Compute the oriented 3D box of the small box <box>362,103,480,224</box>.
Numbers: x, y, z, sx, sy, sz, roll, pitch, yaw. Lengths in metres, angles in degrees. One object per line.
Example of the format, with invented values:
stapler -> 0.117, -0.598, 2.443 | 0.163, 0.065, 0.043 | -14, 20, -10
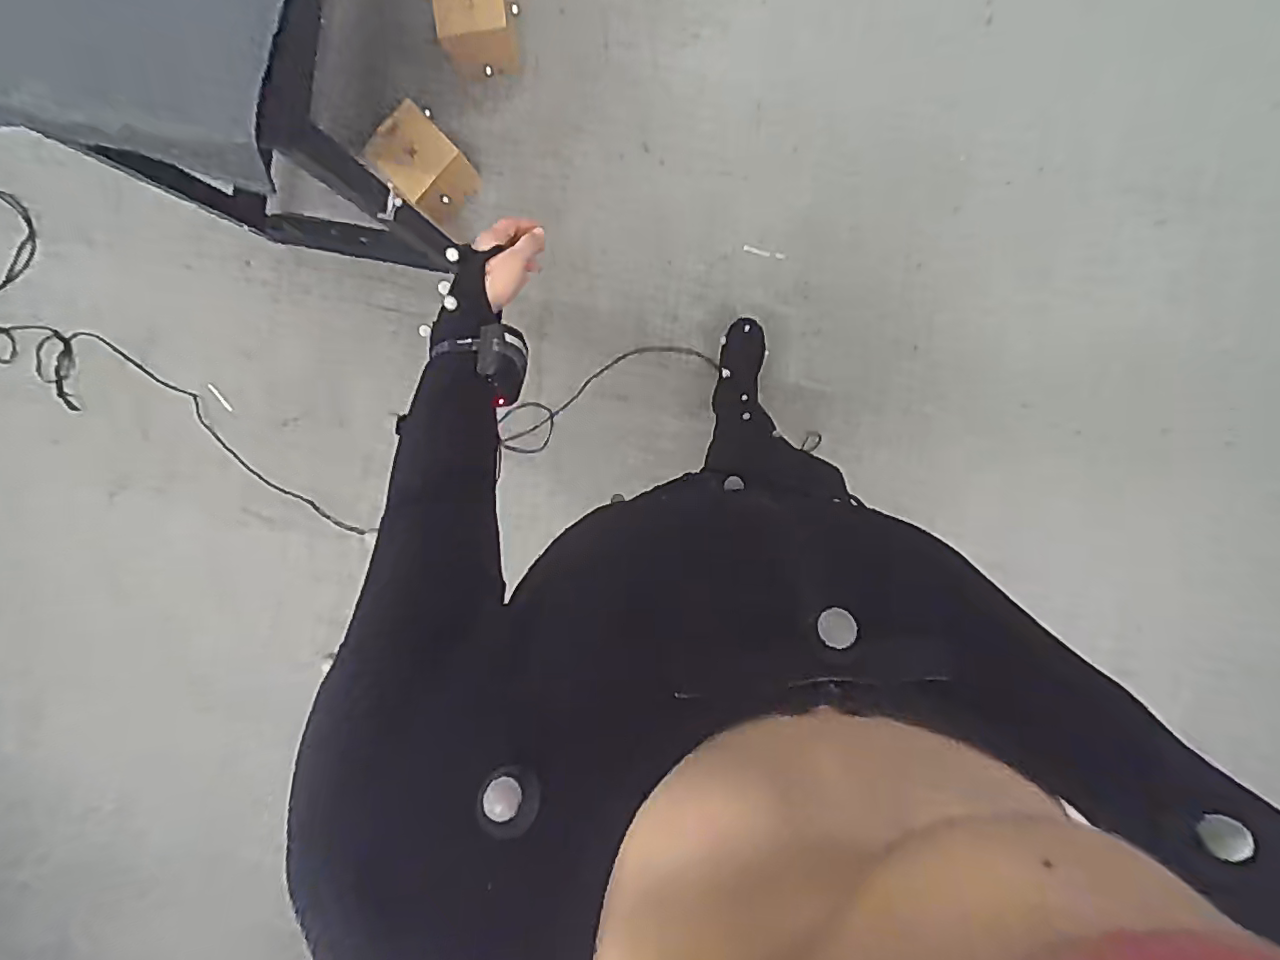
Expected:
small box -> -0.531, -0.768, 1.342 | 0.179, 0.176, 0.168 | 45, 96, -1
